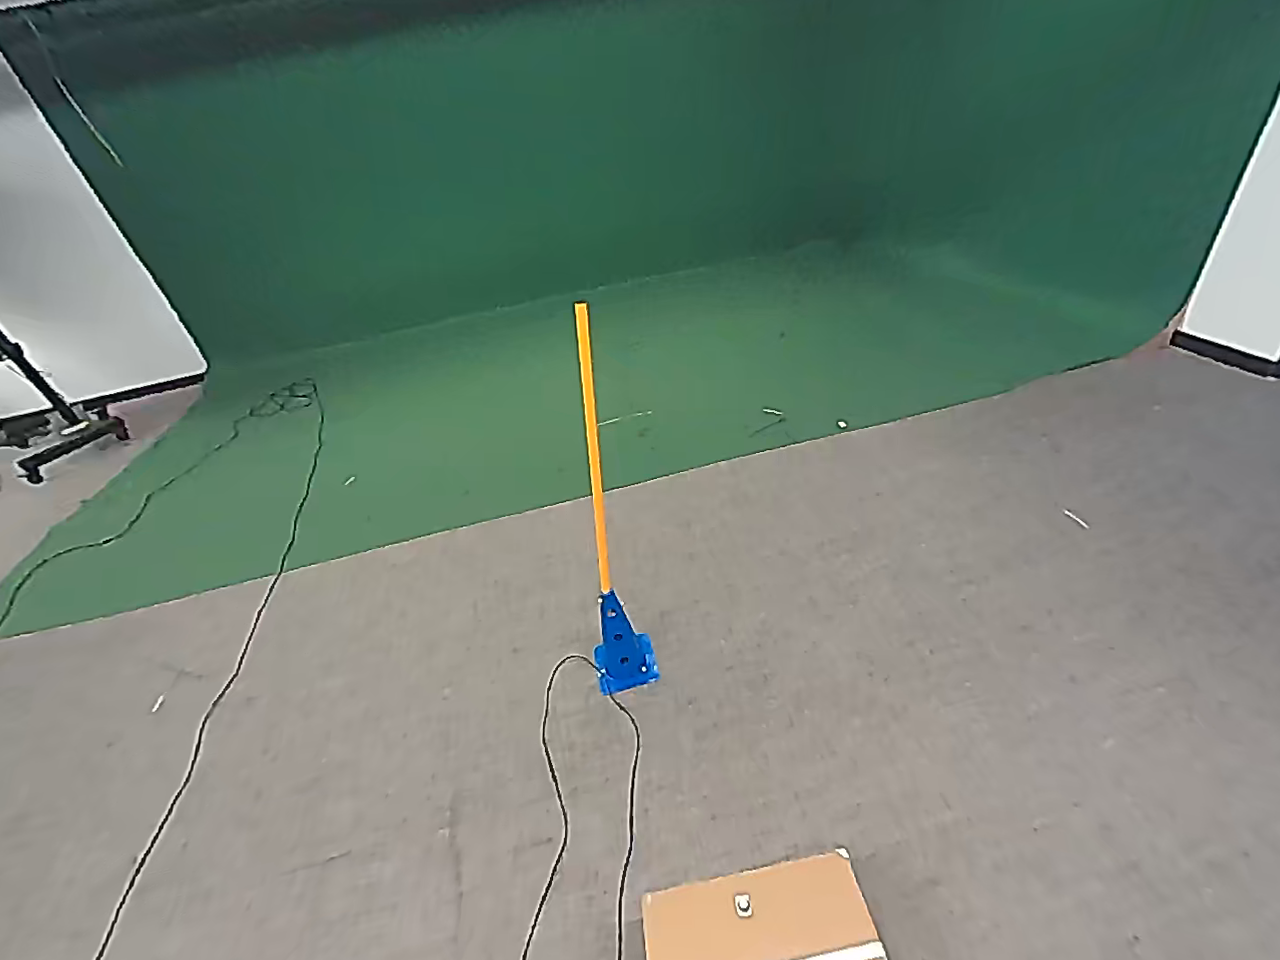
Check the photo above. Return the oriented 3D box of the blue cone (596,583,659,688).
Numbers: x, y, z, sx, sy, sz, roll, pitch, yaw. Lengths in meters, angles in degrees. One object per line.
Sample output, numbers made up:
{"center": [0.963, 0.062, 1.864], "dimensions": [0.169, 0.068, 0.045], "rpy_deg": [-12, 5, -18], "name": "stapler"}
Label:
{"center": [-0.067, 0.459, 1.703], "dimensions": [0.193, 0.380, 0.192], "rpy_deg": [-15, 36, -7], "name": "blue cone"}
